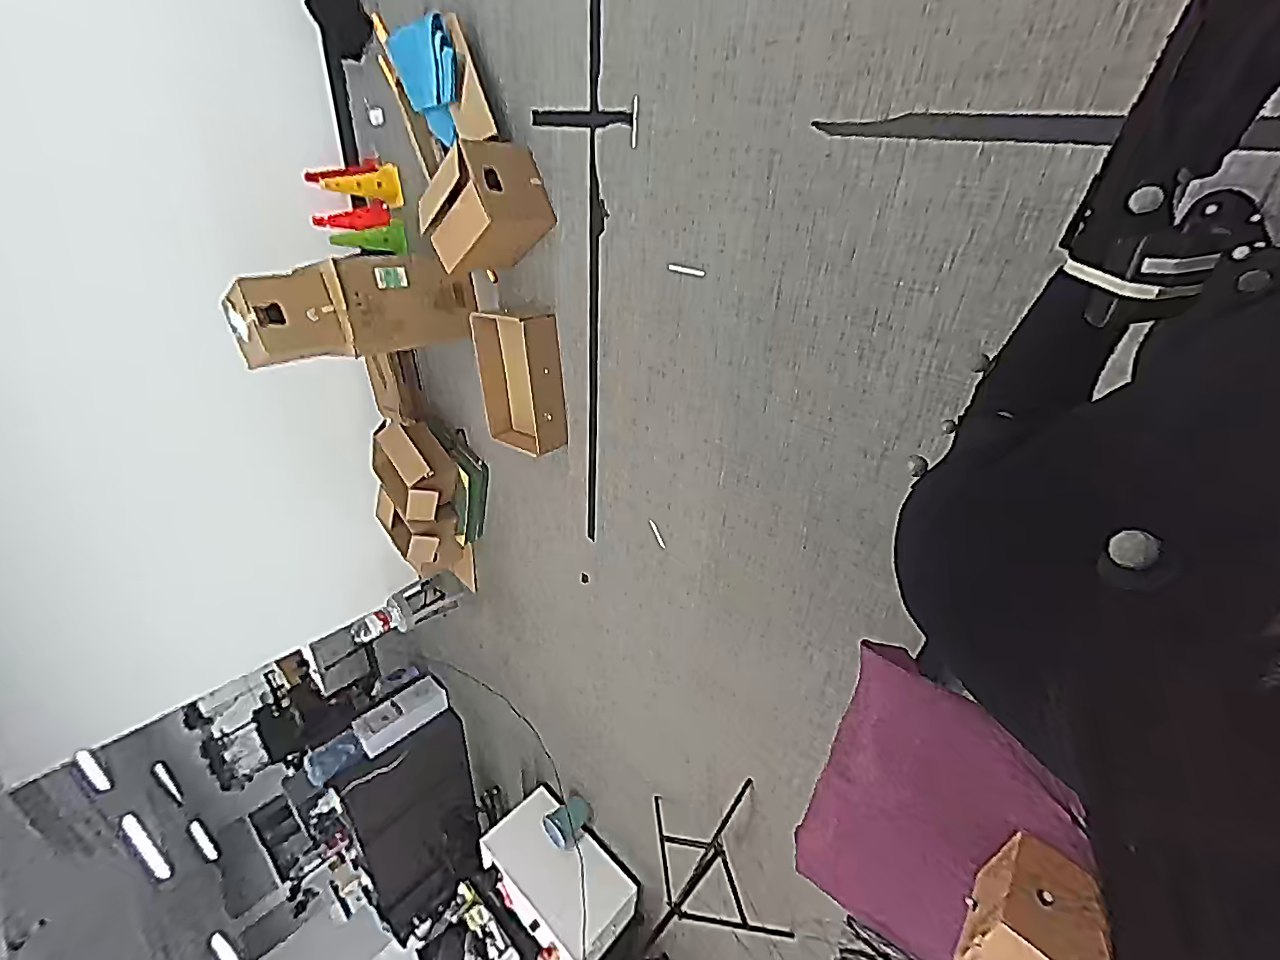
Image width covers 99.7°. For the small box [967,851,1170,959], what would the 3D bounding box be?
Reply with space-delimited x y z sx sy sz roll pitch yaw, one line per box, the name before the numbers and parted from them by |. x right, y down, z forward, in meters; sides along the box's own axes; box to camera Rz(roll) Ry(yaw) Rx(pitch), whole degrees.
small box | 0.611 0.685 0.781 0.179 0.176 0.168 28 130 32
